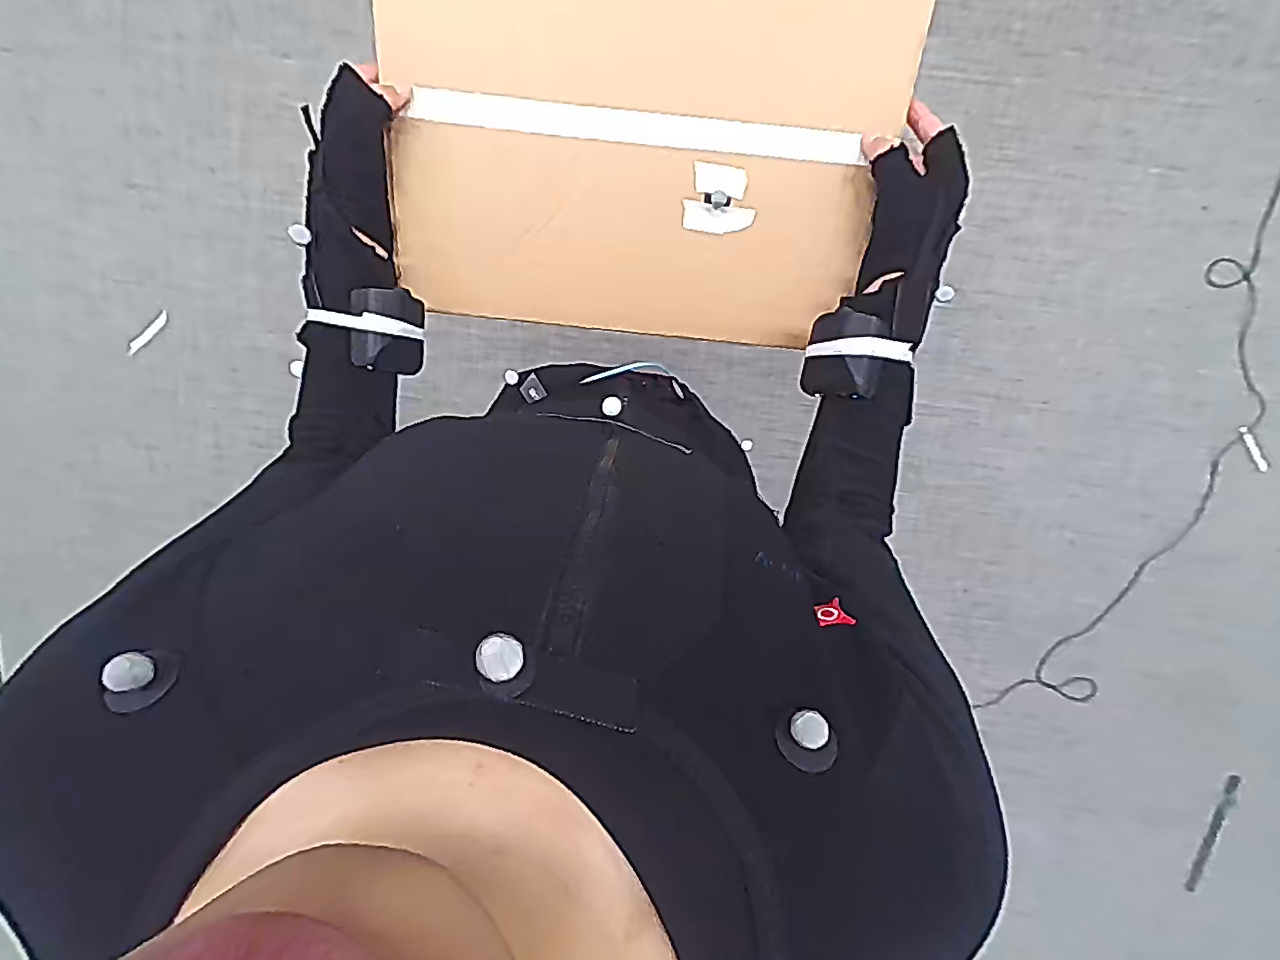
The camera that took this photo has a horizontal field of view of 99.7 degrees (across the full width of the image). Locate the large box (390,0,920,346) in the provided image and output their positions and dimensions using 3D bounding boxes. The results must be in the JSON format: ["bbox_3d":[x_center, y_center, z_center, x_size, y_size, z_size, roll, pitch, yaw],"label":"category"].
[{"bbox_3d":[0.002,-0.336,0.575,0.408,0.320,0.320,5,114,-2],"label":"large box"}]
